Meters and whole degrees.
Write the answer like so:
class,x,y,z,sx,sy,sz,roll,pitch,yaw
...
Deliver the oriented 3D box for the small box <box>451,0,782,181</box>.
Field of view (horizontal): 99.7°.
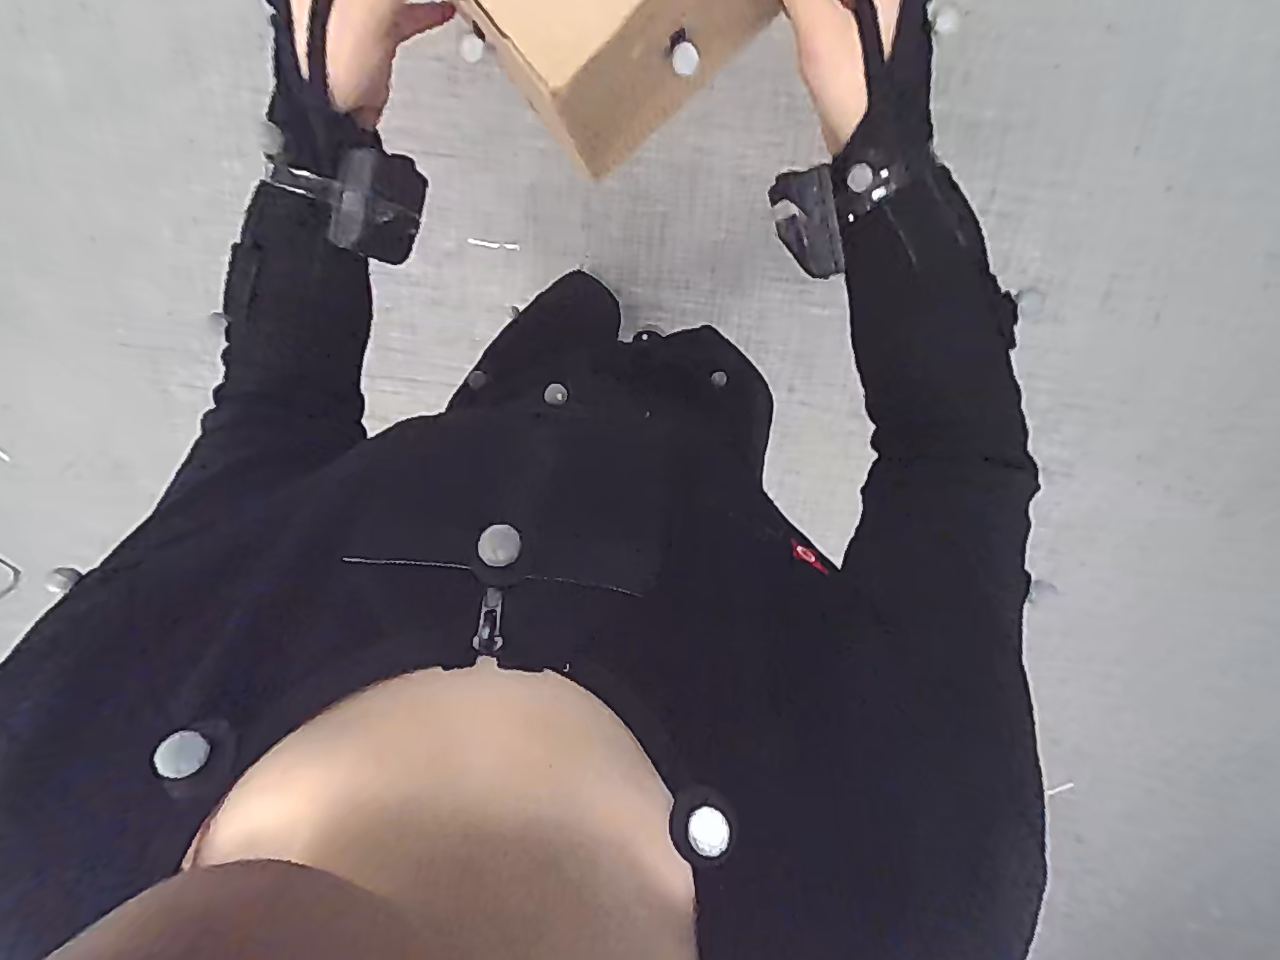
class,x,y,z,sx,sy,sz,roll,pitch,yaw
small box,-0.020,-0.297,0.284,0.179,0.176,0.168,-38,101,13
